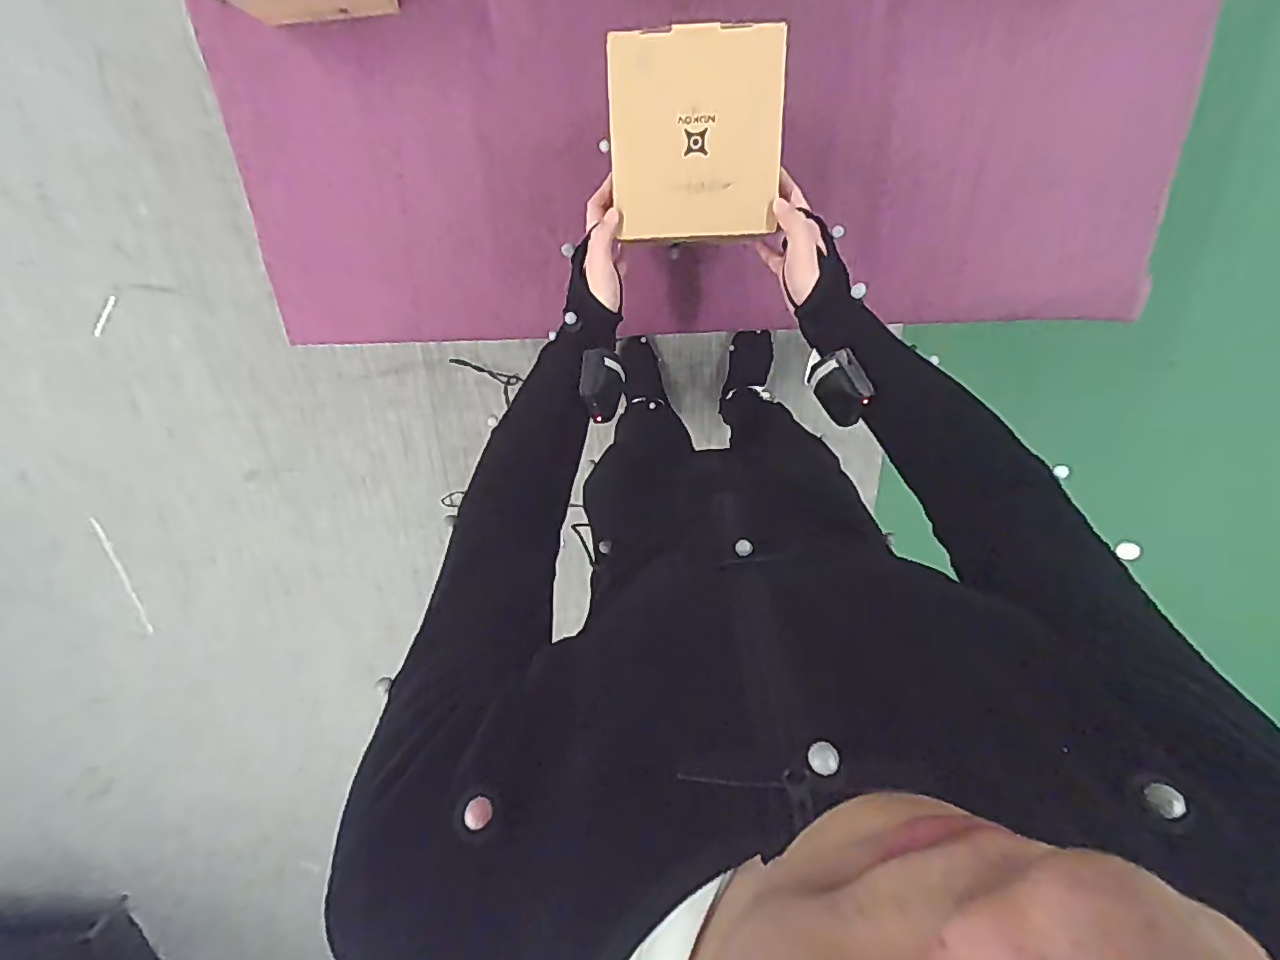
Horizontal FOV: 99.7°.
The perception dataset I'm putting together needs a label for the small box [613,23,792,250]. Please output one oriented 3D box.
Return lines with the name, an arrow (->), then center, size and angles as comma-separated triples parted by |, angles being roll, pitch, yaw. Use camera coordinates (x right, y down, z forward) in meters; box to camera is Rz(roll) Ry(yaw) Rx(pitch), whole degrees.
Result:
small box -> 0.058, -0.351, 0.586 | 0.168, 0.176, 0.179 | -1, 110, 3
